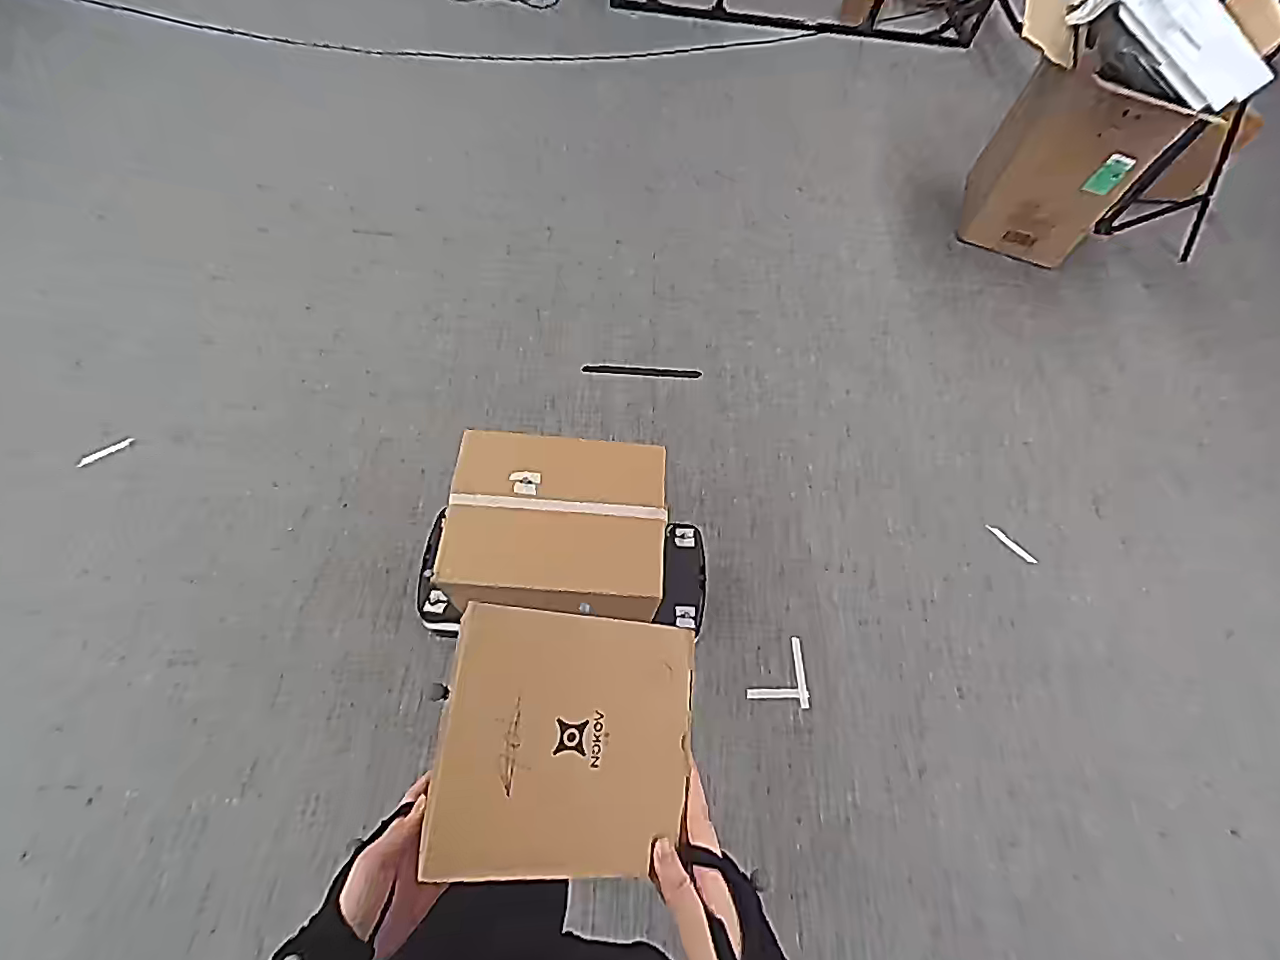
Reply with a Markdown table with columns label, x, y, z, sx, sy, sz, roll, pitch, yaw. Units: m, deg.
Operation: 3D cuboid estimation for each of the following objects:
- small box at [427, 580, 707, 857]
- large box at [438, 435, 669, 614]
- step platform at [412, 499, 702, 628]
| label | x | y | z | sx | sy | sz | roll | pitch | yaw |
| --- | --- | --- | --- | --- | --- | --- | --- | --- | --- |
| small box | -0.064 | 0.187 | 0.443 | 0.179 | 0.176 | 0.168 | 13 | 67 | -16 |
| large box | -0.152 | 0.124 | 1.134 | 0.408 | 0.320 | 0.320 | 4 | 62 | -2 |
| step platform | -0.189 | 0.247 | 1.337 | 0.684 | 0.204 | 0.286 | 9 | 62 | 1 |
